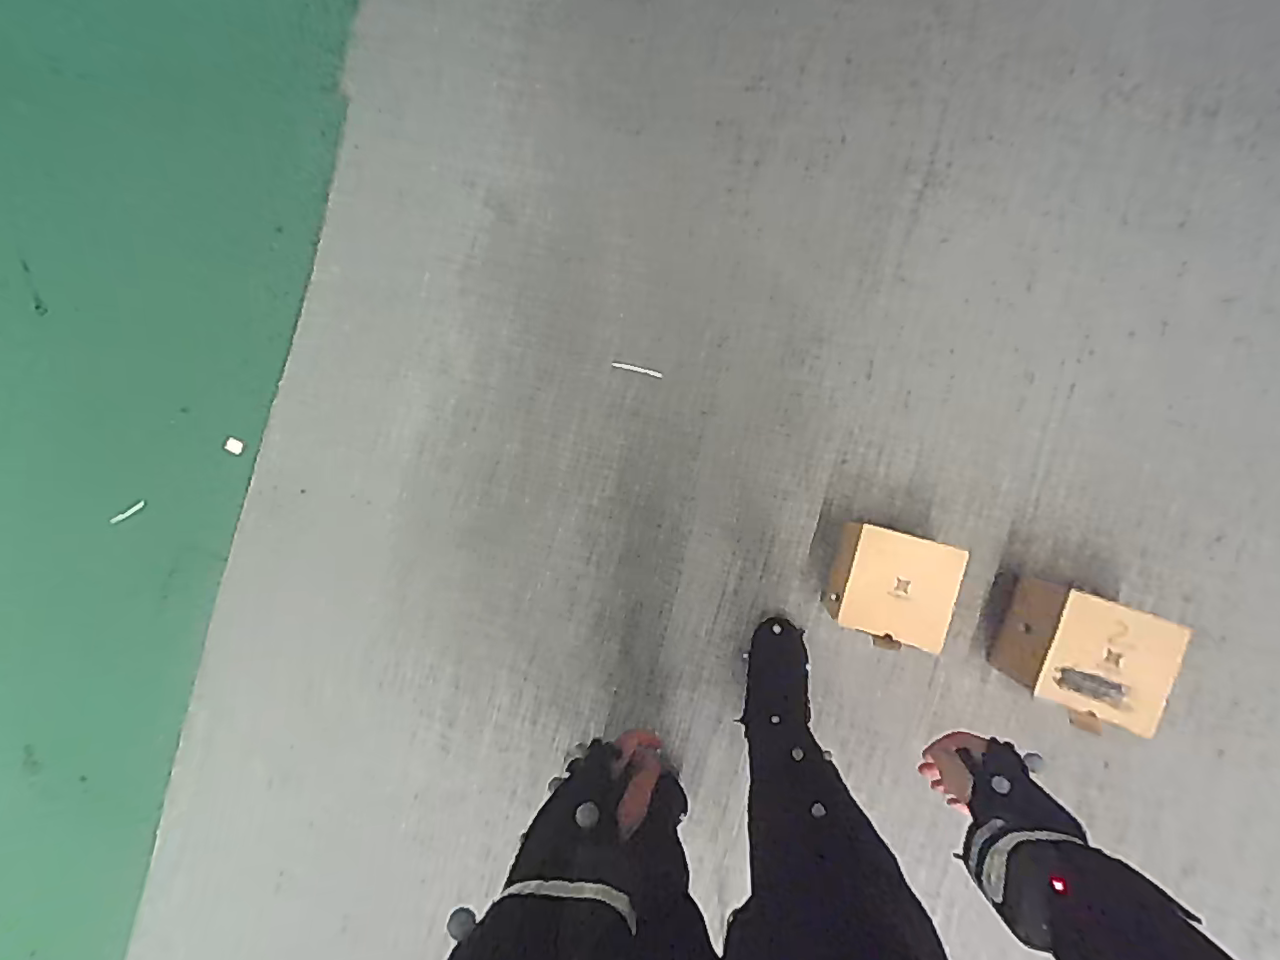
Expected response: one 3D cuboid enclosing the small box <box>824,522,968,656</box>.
[{"bbox_3d":[0.431,0.176,0.941,0.168,0.176,0.179,16,91,11],"label":"small box"}]
